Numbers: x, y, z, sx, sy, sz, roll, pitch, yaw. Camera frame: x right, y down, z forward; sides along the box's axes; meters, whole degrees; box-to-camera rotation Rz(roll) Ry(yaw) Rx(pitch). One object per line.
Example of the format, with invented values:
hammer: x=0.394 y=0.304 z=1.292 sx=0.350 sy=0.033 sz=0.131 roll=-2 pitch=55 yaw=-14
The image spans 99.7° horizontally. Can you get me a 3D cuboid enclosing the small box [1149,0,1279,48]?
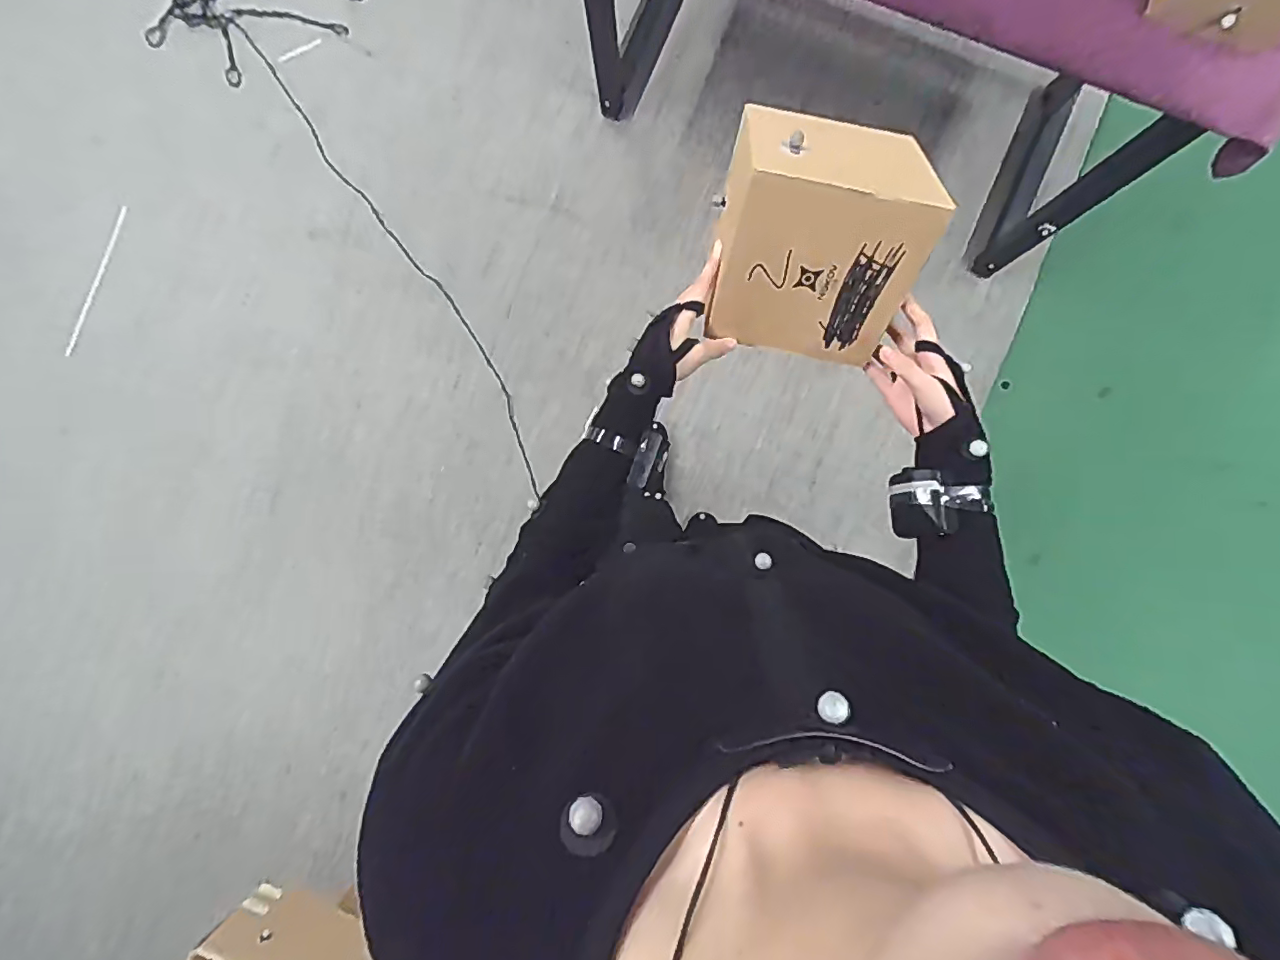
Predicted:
small box: x=0.827 y=-0.707 z=0.688 sx=0.179 sy=0.176 sz=0.168 roll=20 pitch=89 yaw=3
